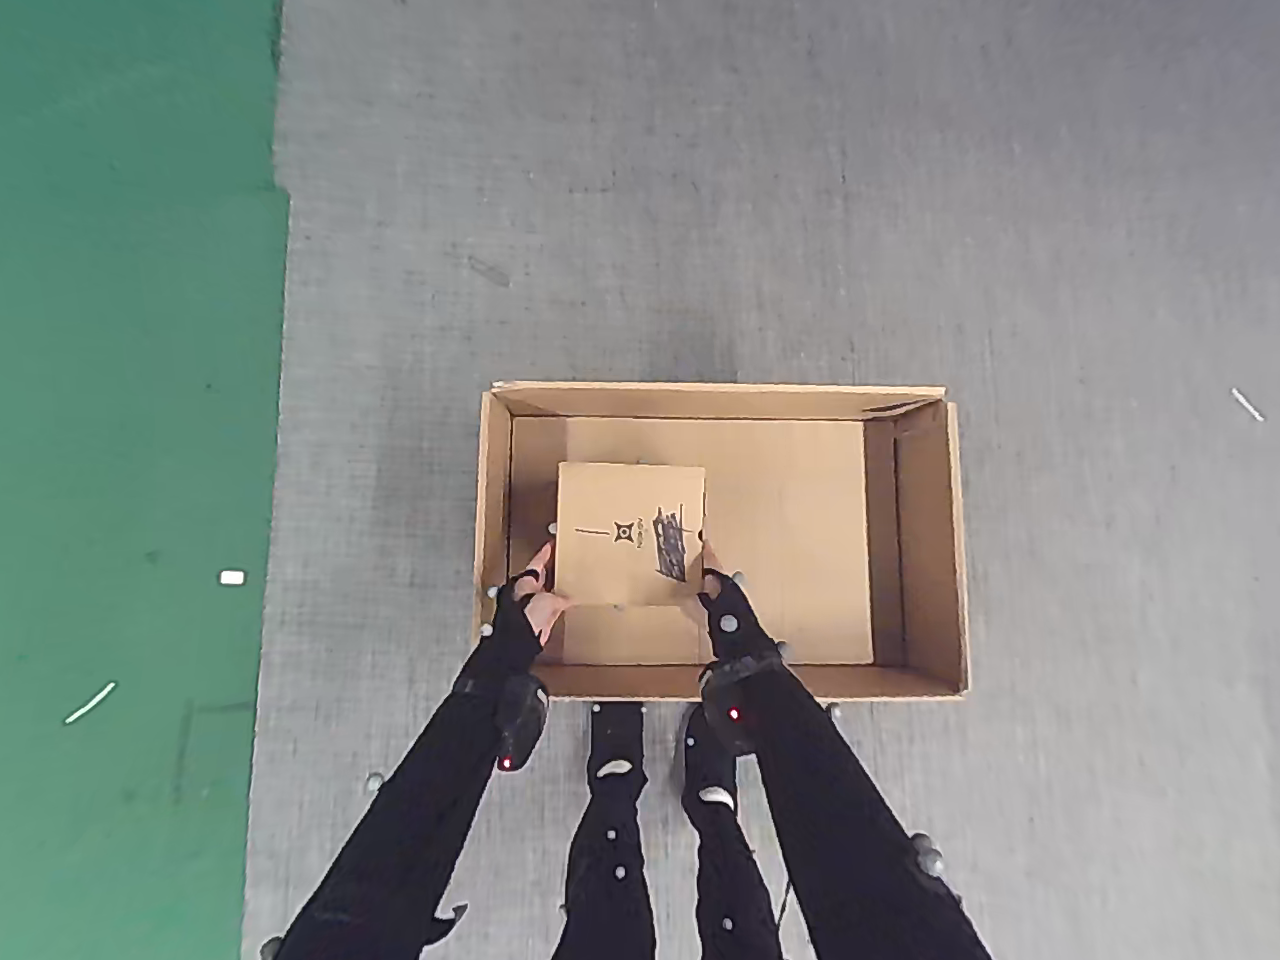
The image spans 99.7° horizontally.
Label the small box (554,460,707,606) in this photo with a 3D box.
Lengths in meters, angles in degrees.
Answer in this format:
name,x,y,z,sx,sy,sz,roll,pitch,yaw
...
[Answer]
name,x,y,z,sx,sy,sz,roll,pitch,yaw
small box,-0.016,0.071,0.709,0.179,0.176,0.168,2,81,-4
